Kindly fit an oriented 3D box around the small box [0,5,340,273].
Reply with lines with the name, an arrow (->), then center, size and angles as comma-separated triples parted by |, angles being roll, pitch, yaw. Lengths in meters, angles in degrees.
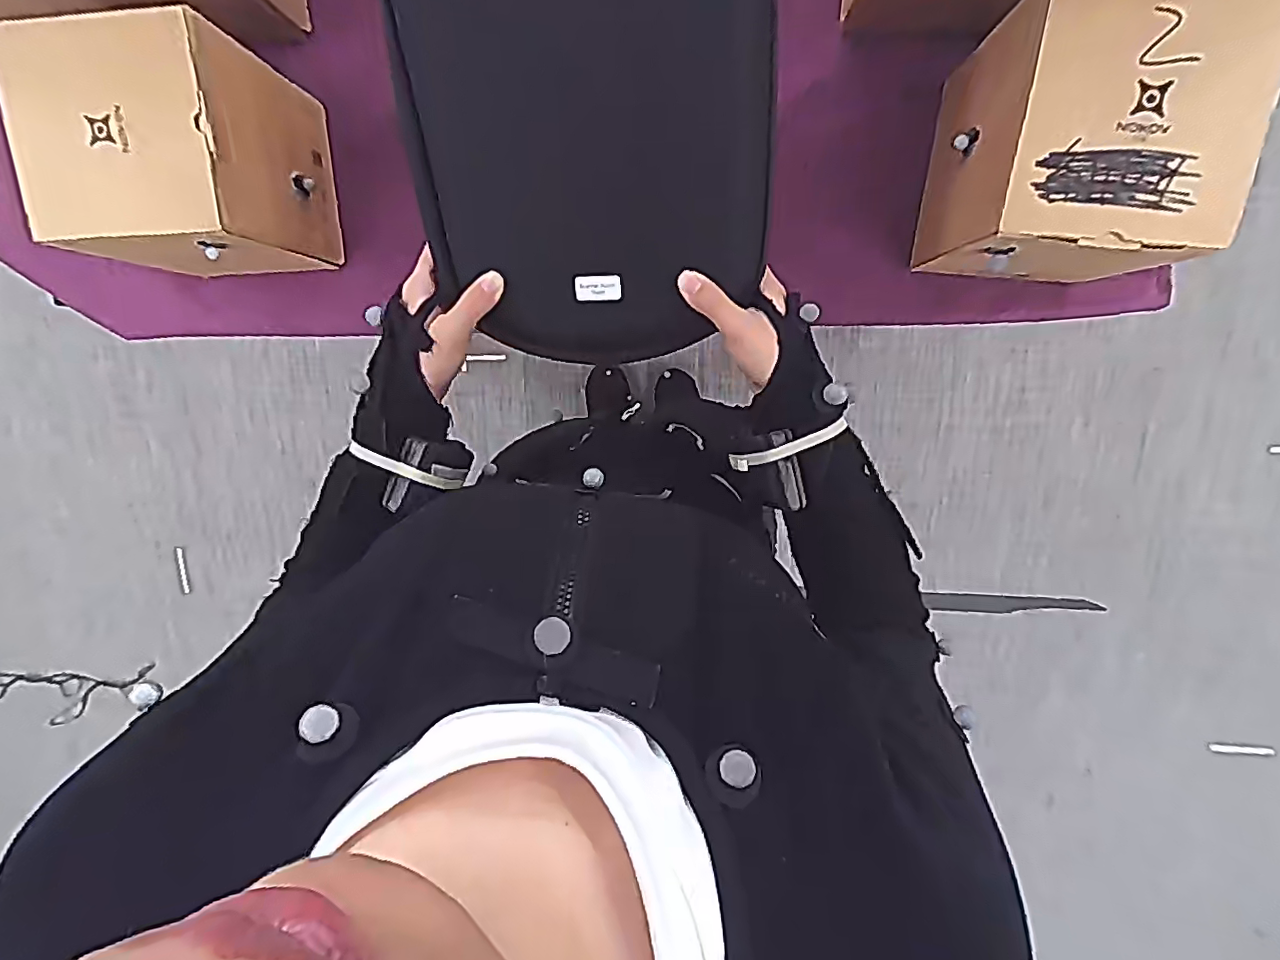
small box -> -0.427, -0.302, 0.518 | 0.179, 0.176, 0.168 | -2, 101, 3
